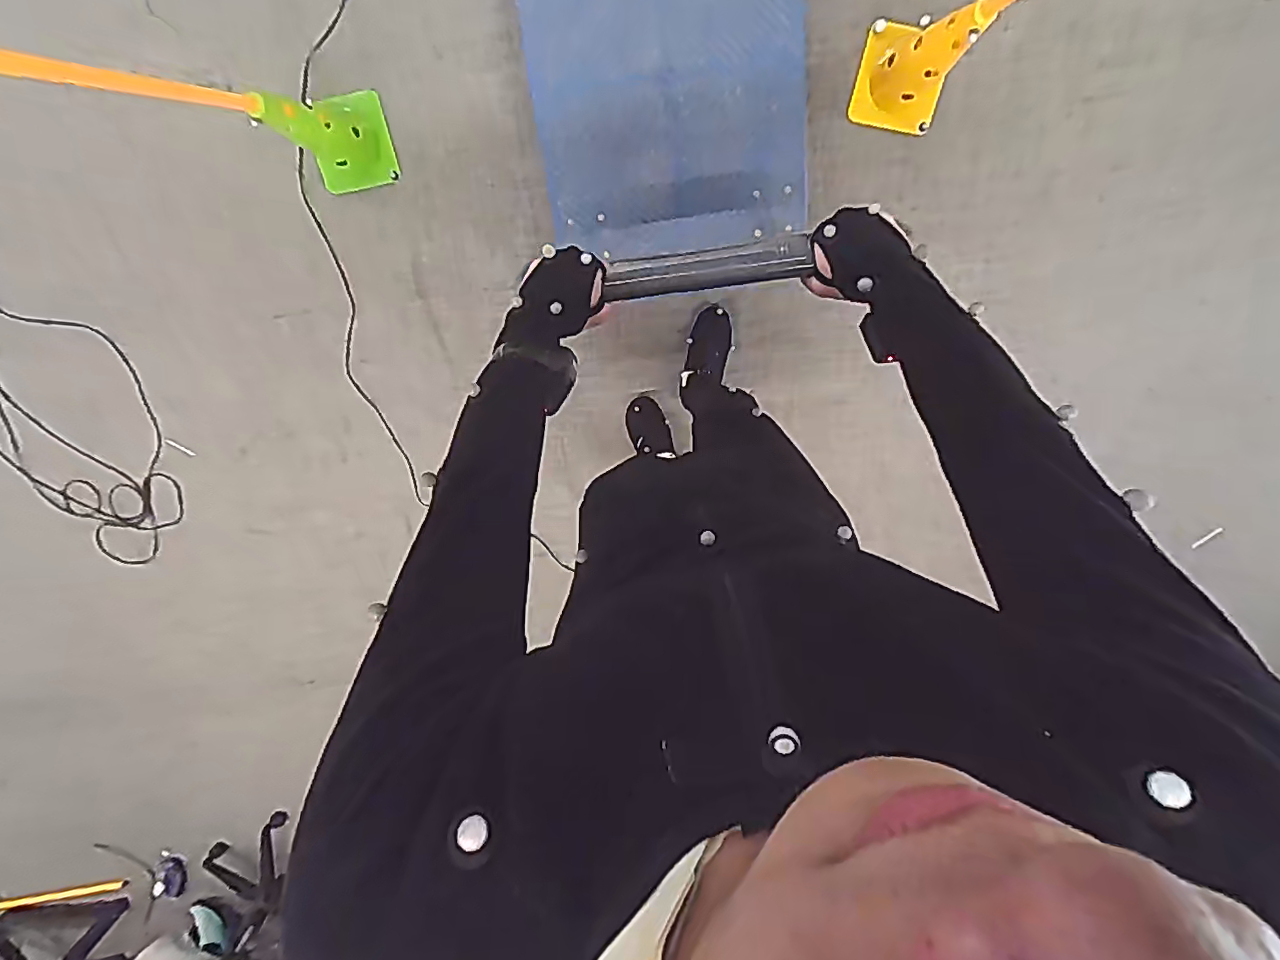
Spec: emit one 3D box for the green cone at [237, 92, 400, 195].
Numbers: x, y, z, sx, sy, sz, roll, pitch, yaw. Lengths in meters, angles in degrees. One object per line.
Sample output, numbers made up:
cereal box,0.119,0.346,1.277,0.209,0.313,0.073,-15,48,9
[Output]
green cone,-0.726,-0.774,1.185,0.202,0.368,0.200,-8,110,8
